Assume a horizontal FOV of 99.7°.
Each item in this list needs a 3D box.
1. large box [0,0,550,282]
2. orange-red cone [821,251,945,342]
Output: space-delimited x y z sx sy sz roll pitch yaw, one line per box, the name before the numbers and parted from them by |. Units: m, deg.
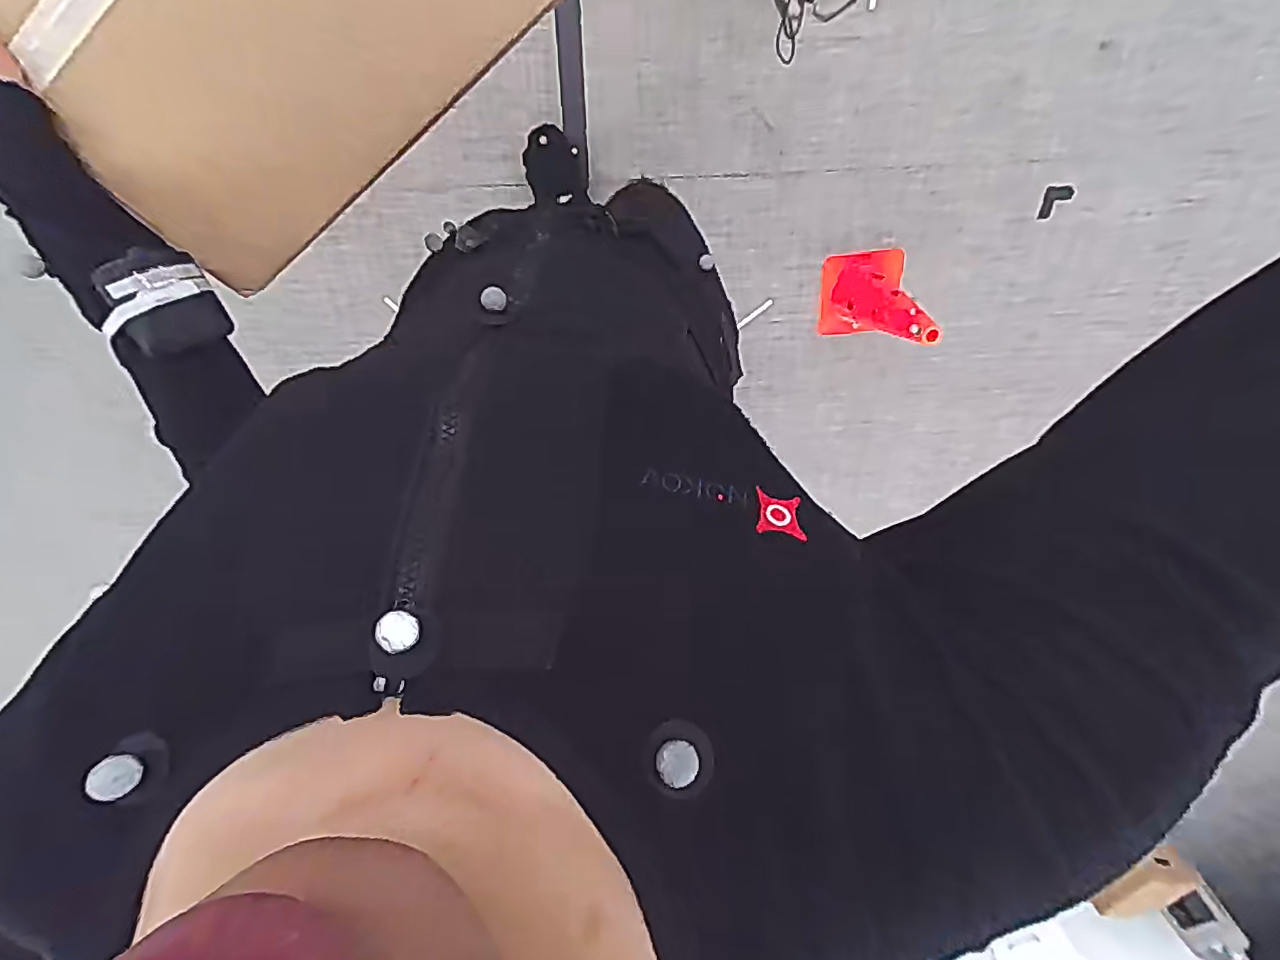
large box | -0.267 -0.439 0.411 0.408 0.320 0.320 -35 128 13
orange-red cone | 0.571 -0.381 1.216 0.198 0.360 0.199 -6 121 -1
